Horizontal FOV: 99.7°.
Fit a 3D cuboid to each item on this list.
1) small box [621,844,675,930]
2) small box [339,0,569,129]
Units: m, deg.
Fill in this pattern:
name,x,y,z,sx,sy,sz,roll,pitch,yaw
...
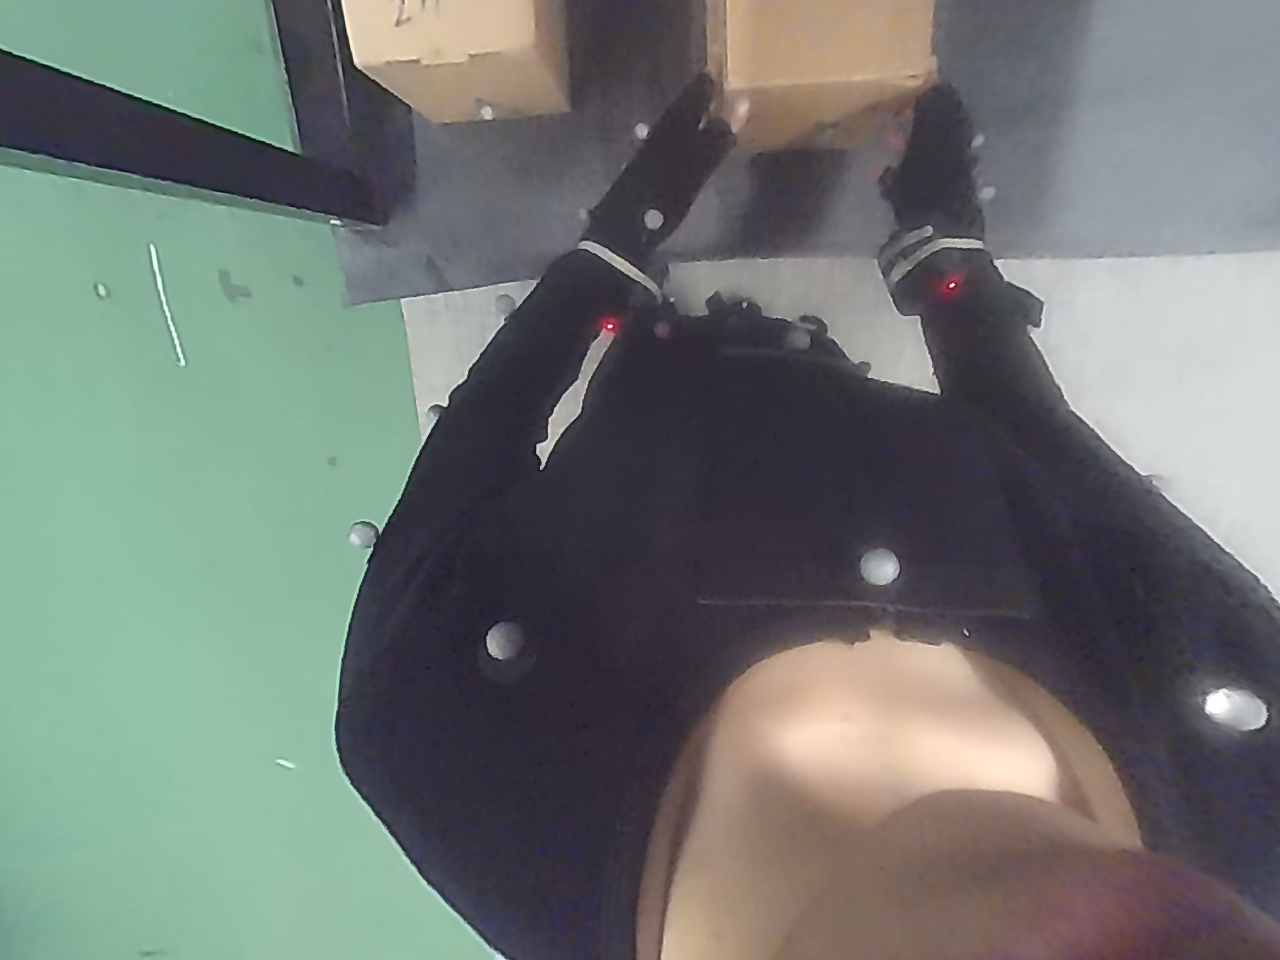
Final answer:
name,x,y,z,sx,sy,sz,roll,pitch,yaw
small box,0.030,1.428,1.905,0.168,0.176,0.179,8,110,3
small box,-0.168,-0.465,0.516,0.168,0.176,0.179,-1,108,5
